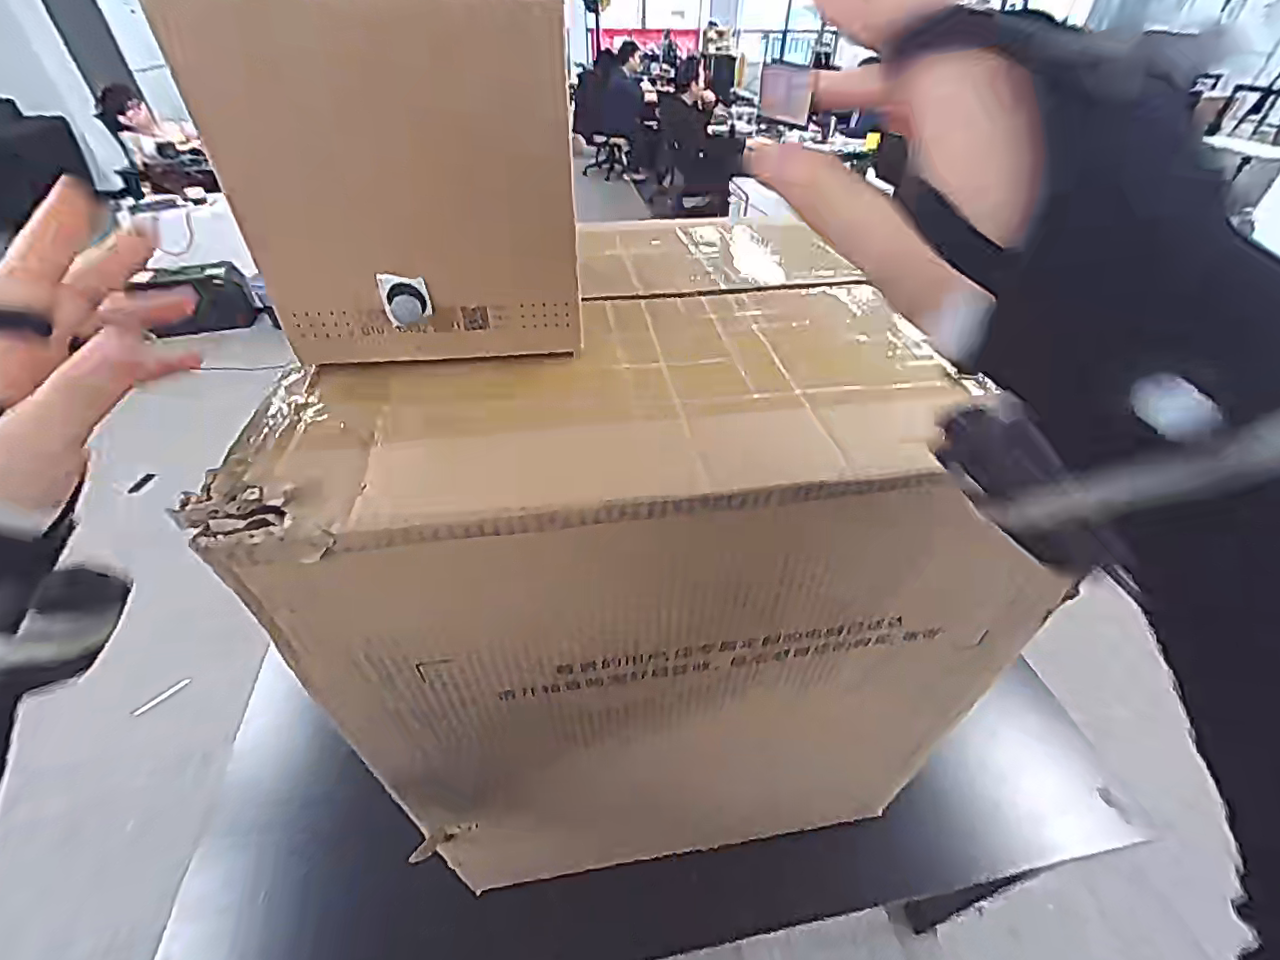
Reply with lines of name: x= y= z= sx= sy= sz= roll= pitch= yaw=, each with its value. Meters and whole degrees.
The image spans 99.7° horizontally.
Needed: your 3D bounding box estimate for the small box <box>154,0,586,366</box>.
small box: x=-0.125 y=-0.186 z=0.331 sx=0.168 sy=0.176 sz=0.179 roll=-6 pitch=42 yaw=-7
